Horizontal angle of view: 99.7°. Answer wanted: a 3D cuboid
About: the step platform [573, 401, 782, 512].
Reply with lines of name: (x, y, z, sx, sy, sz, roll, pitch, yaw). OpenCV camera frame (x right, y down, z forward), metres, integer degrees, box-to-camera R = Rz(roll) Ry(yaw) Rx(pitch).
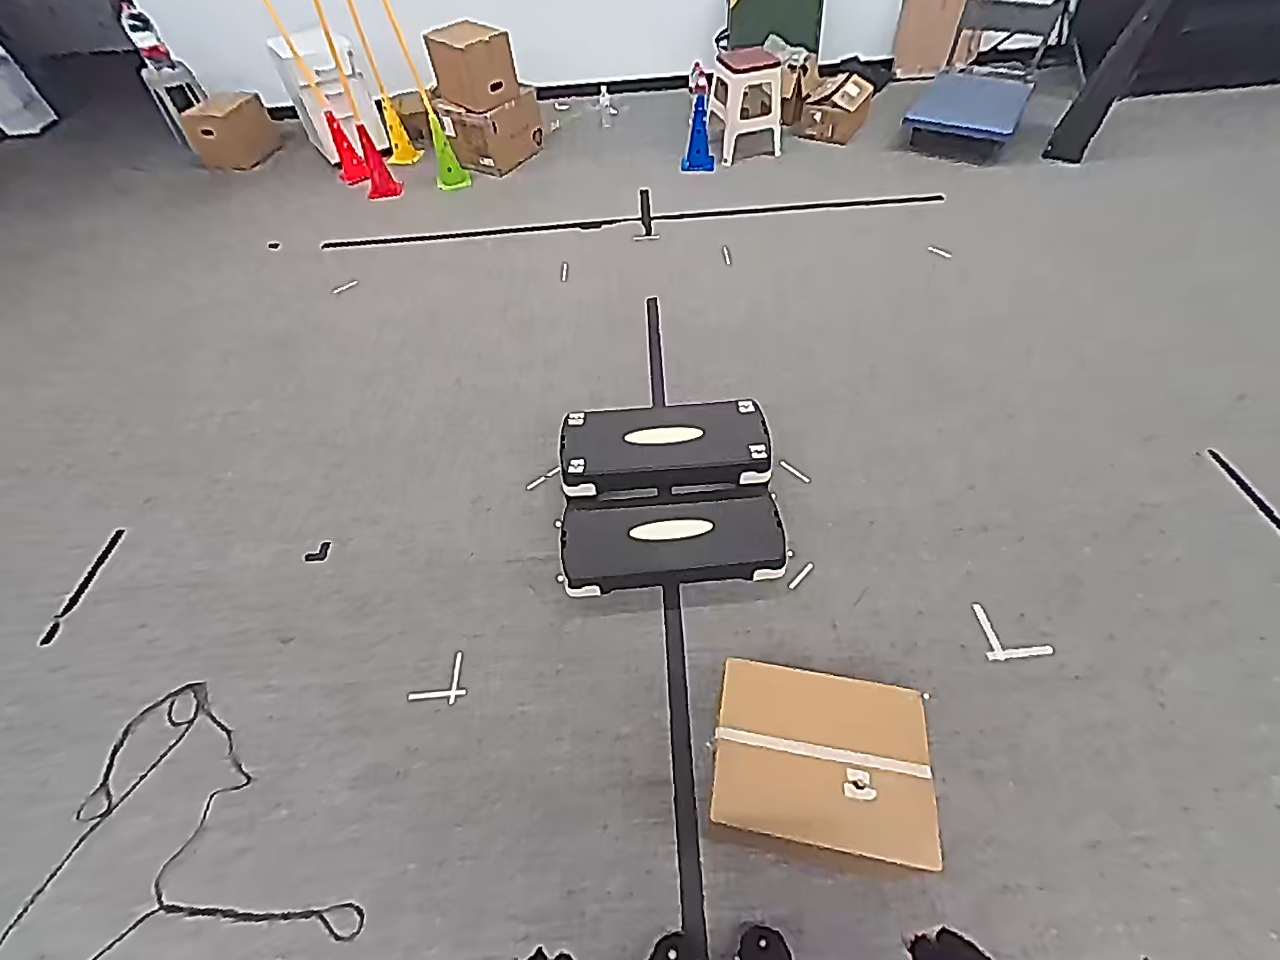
step platform: (0.120, -0.083, 1.804, 0.684, 0.204, 0.286, -5, 52, 0)

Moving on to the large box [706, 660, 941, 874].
large box: (0.364, 0.625, 1.178, 0.408, 0.320, 0.320, 7, 53, 9)
